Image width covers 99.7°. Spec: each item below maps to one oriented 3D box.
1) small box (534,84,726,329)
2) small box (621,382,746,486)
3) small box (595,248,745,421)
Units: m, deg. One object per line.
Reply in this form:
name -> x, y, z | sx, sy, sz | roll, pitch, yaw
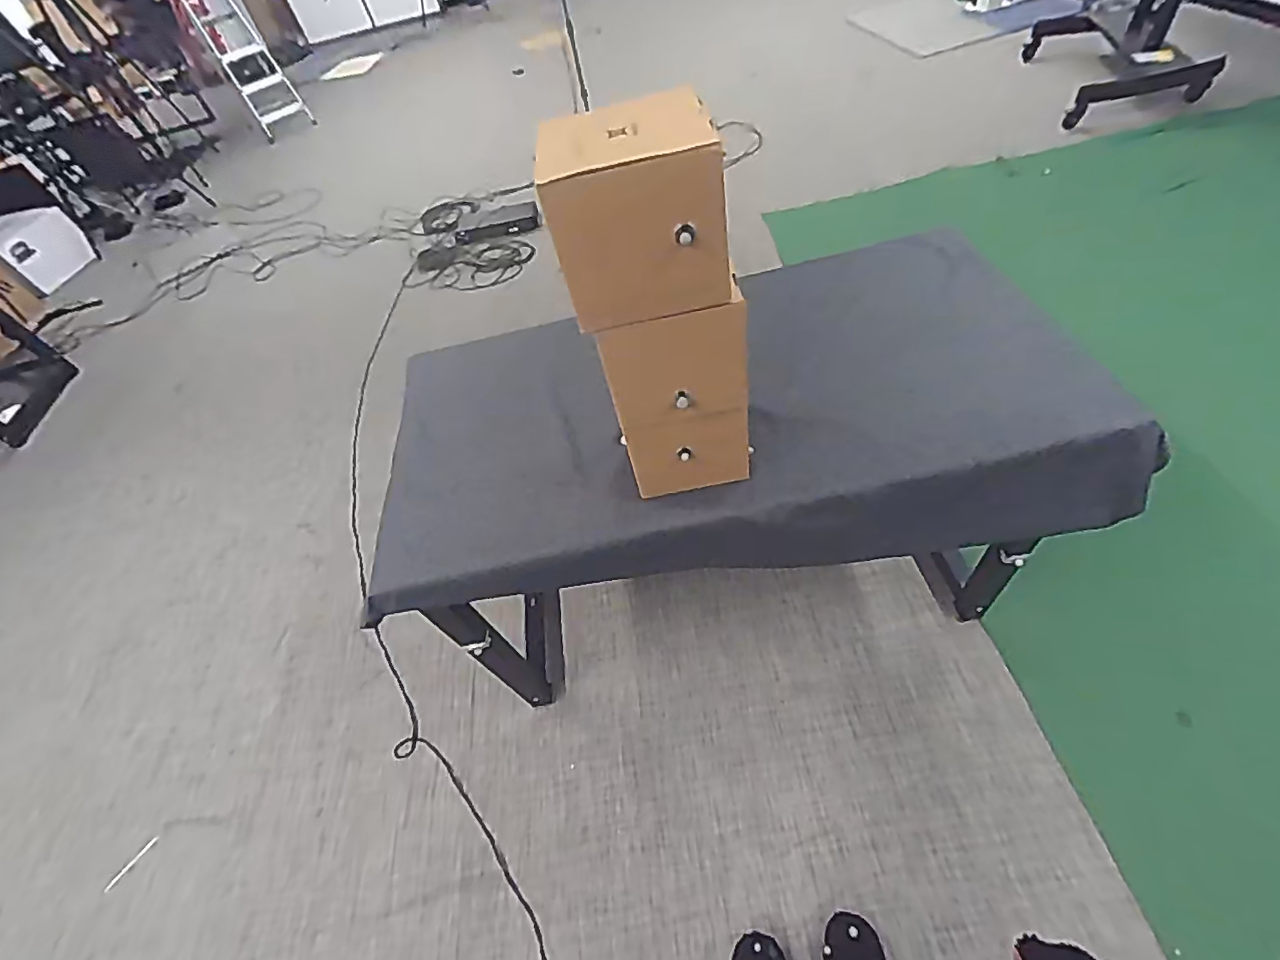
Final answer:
small box -> -0.004, -0.296, 0.600 | 0.179, 0.176, 0.168 | -12, 50, 6
small box -> 0.068, -0.110, 0.855 | 0.179, 0.176, 0.168 | -9, 50, 6
small box -> 0.039, -0.202, 0.727 | 0.179, 0.176, 0.168 | -10, 51, 4
